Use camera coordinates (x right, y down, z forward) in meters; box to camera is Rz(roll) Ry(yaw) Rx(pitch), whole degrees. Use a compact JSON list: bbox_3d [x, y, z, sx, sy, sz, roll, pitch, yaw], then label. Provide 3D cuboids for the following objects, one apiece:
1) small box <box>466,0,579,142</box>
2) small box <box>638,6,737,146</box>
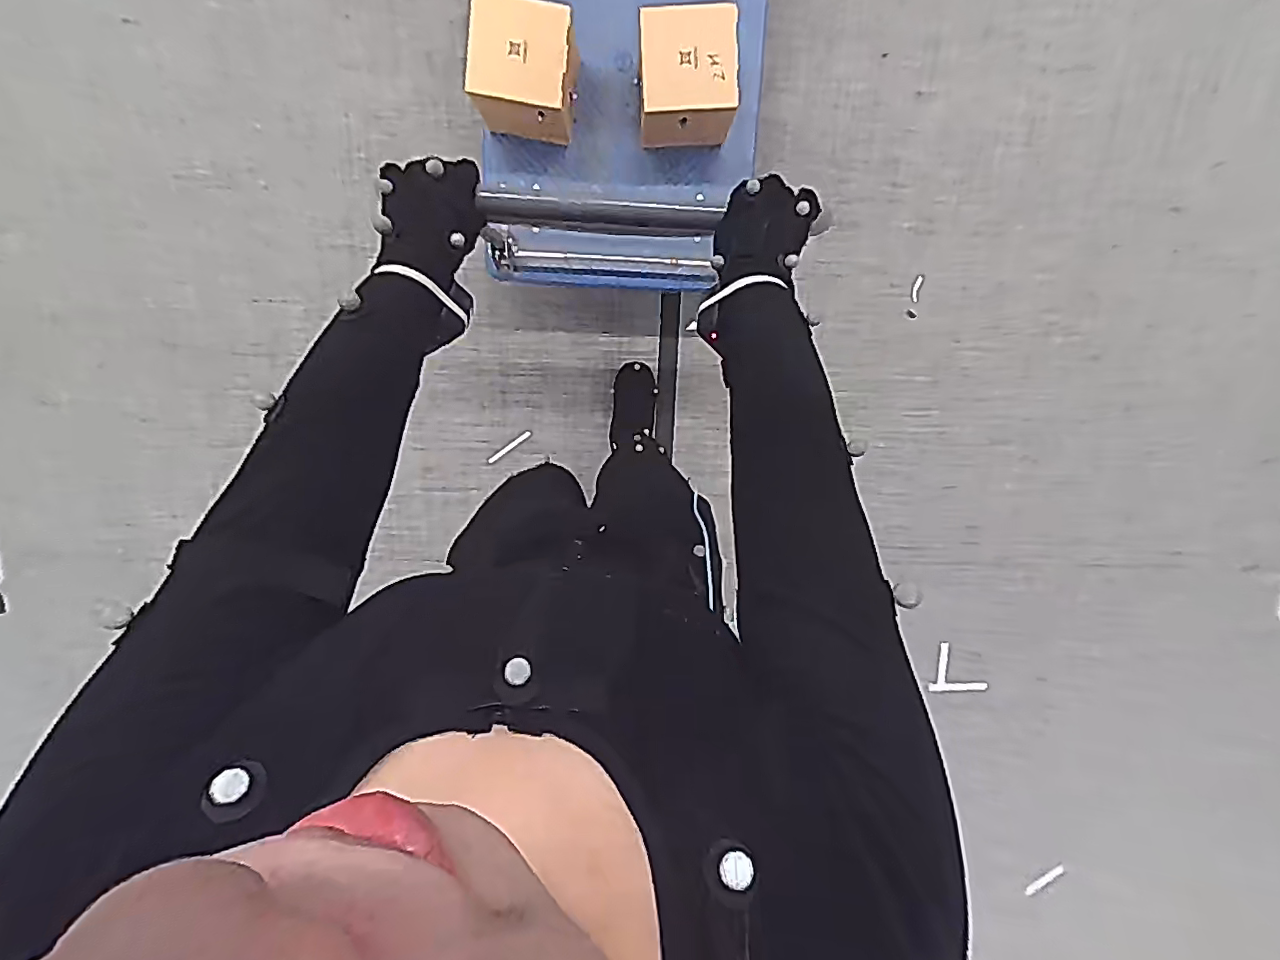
[{"bbox_3d":[-0.219,-0.781,1.041,0.179,0.176,0.168,8,102,-4],"label":"small box"},{"bbox_3d":[0.087,-0.770,1.049,0.179,0.176,0.168,-3,103,0],"label":"small box"}]
